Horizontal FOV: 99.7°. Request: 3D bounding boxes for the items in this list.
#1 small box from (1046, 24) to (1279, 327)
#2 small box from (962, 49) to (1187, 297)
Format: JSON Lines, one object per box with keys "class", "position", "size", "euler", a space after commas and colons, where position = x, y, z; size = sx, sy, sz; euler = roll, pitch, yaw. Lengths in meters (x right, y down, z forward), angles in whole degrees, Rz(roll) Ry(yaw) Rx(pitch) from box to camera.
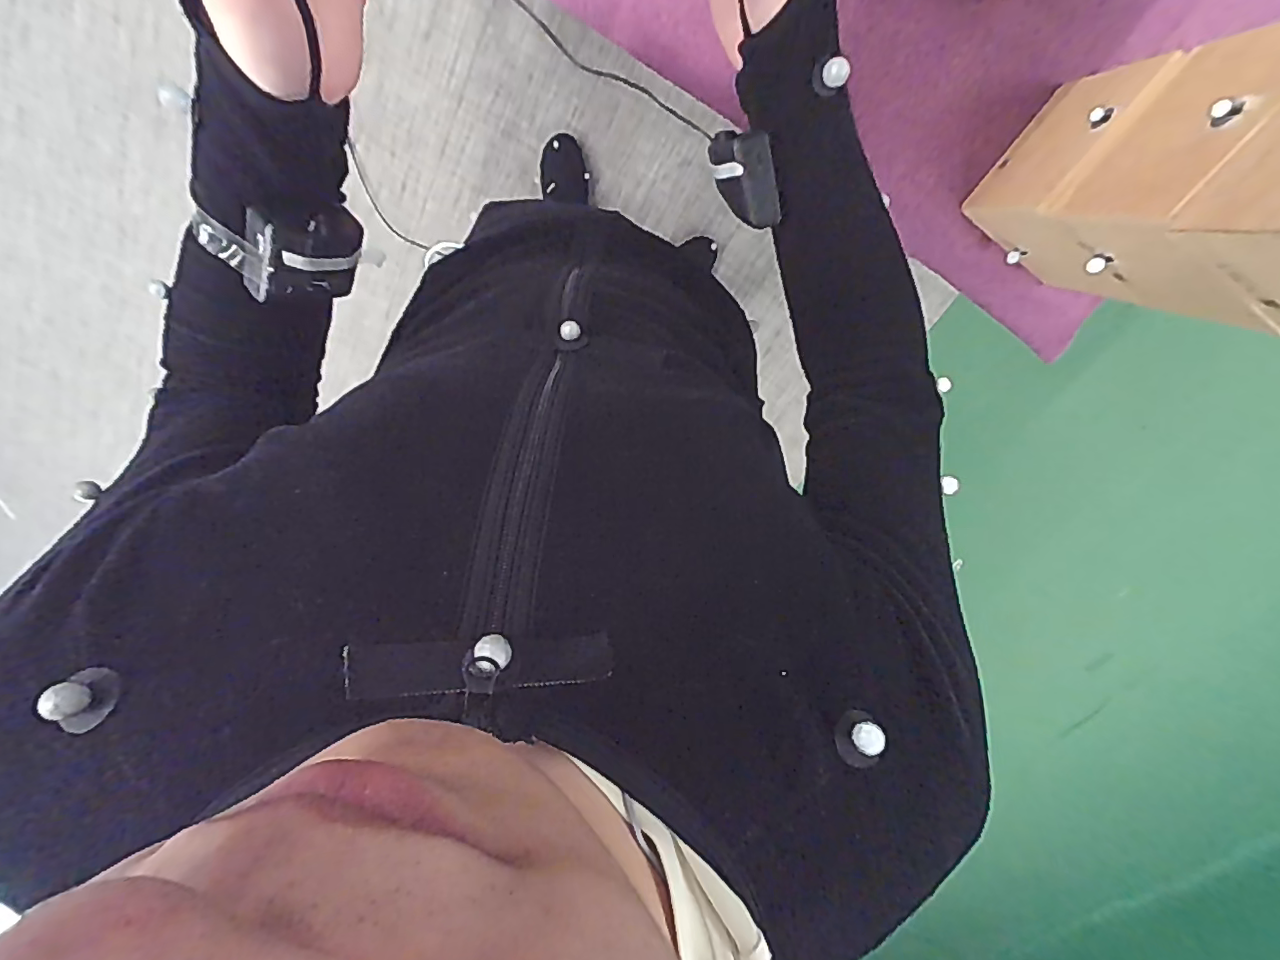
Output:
{"class": "small box", "position": [0.532, -0.271, 0.487], "size": [0.168, 0.176, 0.179], "euler": [31, 115, -12]}
{"class": "small box", "position": [0.533, -0.346, 0.632], "size": [0.179, 0.176, 0.168], "euler": [31, 114, -14]}
